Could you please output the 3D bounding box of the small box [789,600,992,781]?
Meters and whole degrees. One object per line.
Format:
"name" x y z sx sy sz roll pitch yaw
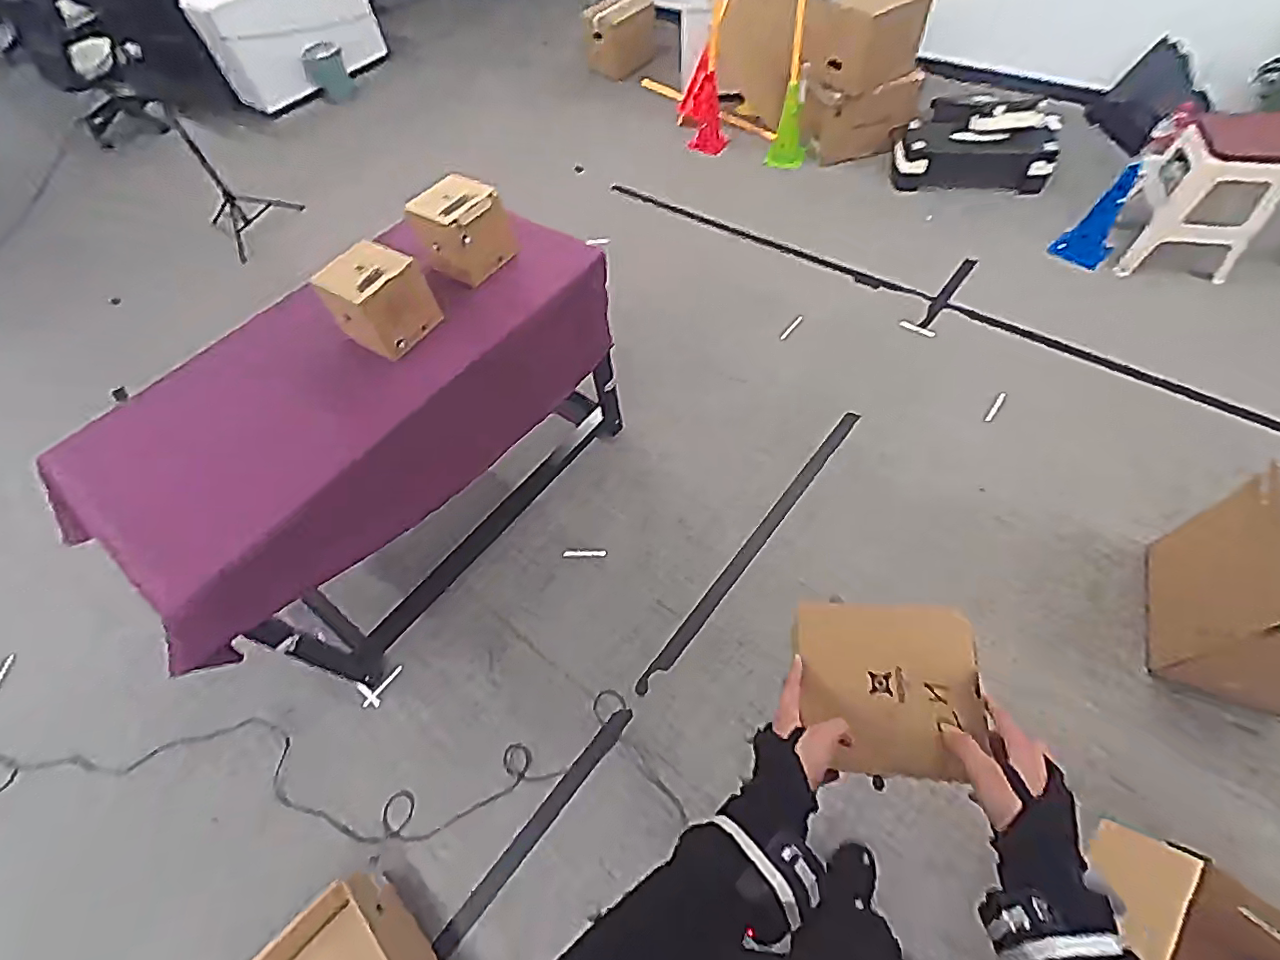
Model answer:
"small box" 0.264 0.240 0.619 0.179 0.176 0.168 -1 65 12

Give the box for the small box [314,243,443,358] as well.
"small box" -0.594 -0.409 1.253 0.179 0.176 0.168 27 64 22
